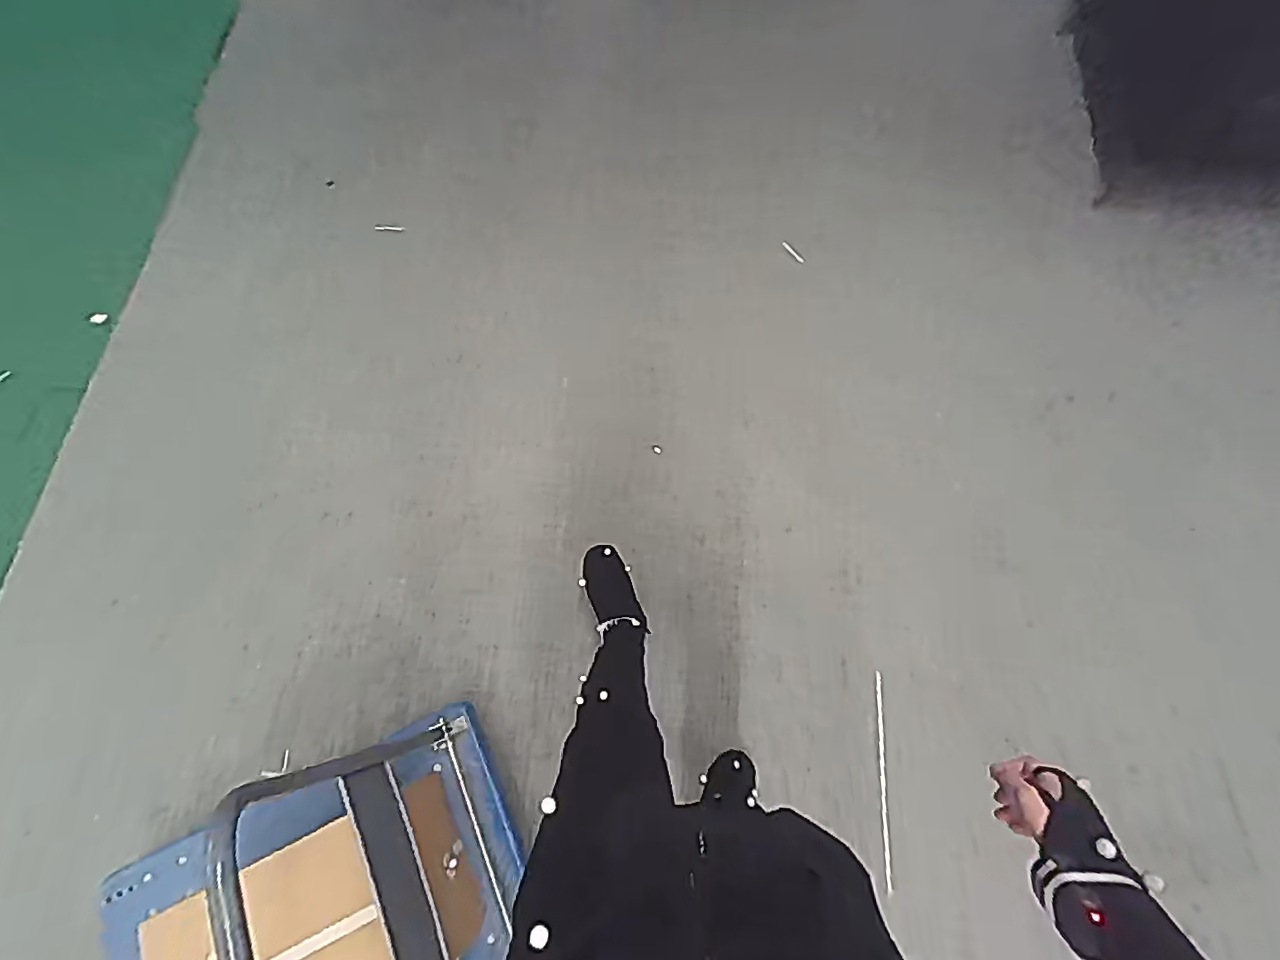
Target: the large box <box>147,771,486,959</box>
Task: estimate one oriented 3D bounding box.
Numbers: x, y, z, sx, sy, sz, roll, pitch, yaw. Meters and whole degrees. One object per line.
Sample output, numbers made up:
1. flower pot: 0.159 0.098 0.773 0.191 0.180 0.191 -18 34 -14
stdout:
1. large box: -0.570 0.823 1.015 0.408 0.320 0.320 -26 72 -4
